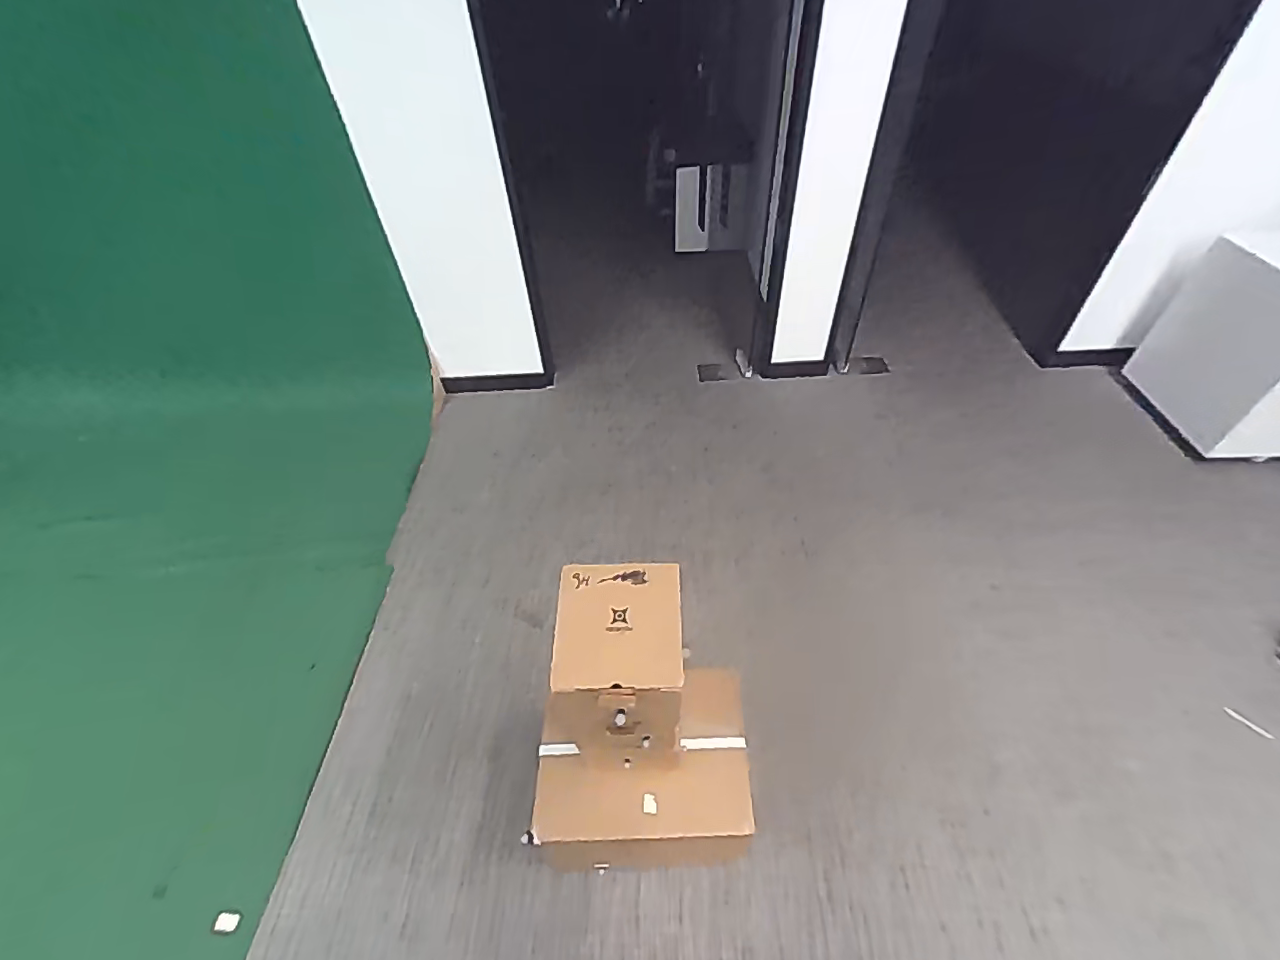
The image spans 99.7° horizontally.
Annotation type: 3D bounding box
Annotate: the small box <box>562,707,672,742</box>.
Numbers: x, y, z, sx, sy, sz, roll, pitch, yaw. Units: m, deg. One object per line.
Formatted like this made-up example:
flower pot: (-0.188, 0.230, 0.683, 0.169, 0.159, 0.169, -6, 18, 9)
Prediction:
small box: (-0.030, 0.331, 0.908, 0.168, 0.176, 0.179, 0, 51, 2)

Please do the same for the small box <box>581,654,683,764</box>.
small box: (-0.014, 0.436, 1.032, 0.179, 0.176, 0.168, -3, 53, 0)

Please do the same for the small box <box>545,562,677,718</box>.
small box: (-0.031, 0.234, 0.777, 0.168, 0.176, 0.179, -1, 53, 2)
